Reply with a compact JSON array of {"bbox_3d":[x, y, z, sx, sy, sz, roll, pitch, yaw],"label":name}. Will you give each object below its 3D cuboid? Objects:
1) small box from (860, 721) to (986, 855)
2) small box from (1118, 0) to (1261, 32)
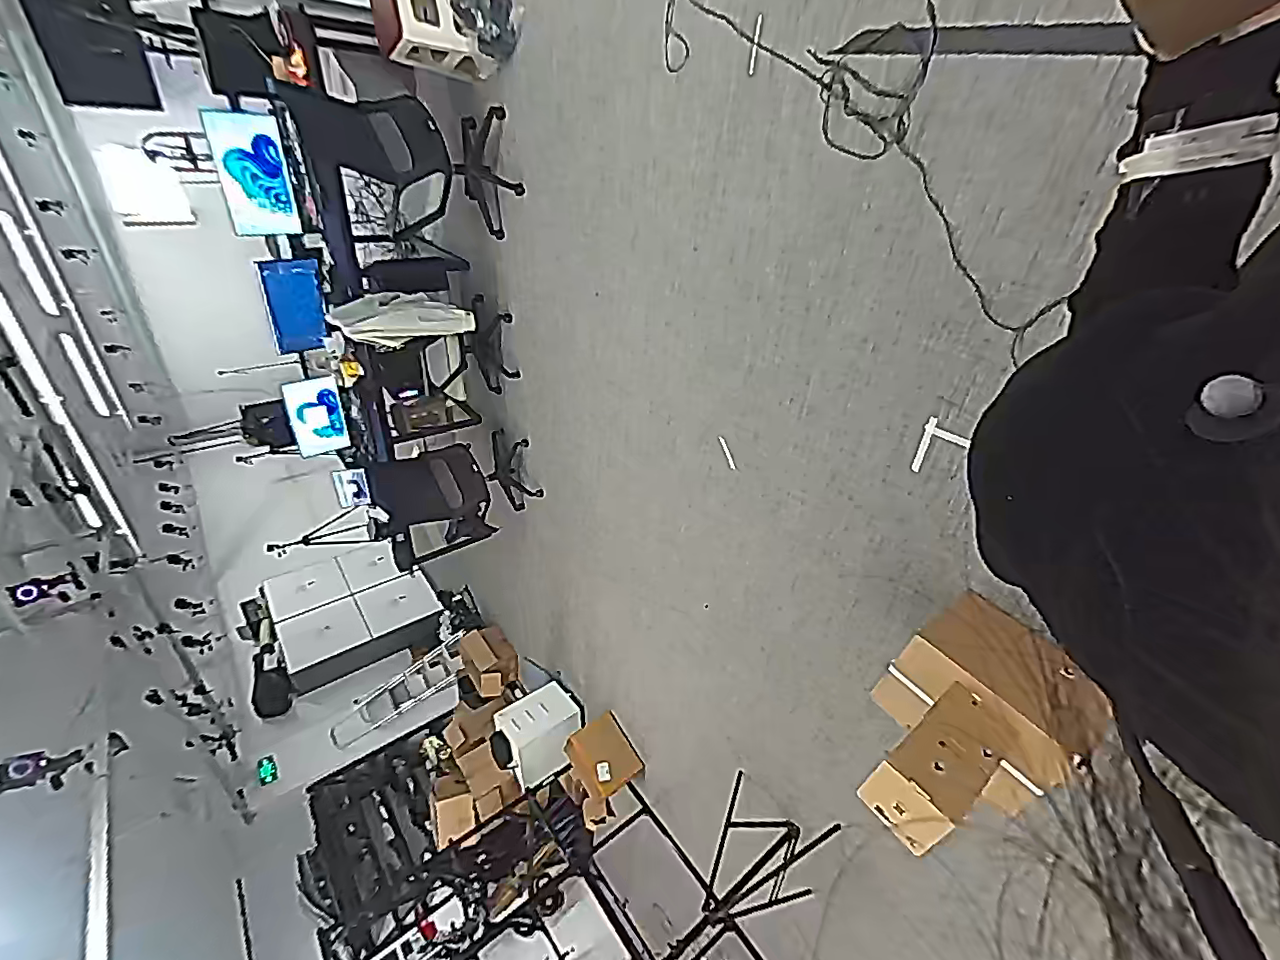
[{"bbox_3d":[0.641,0.686,1.219,0.168,0.176,0.179,42,137,35],"label":"small box"},{"bbox_3d":[0.277,-0.314,0.199,0.168,0.176,0.179,-11,99,50],"label":"small box"}]
